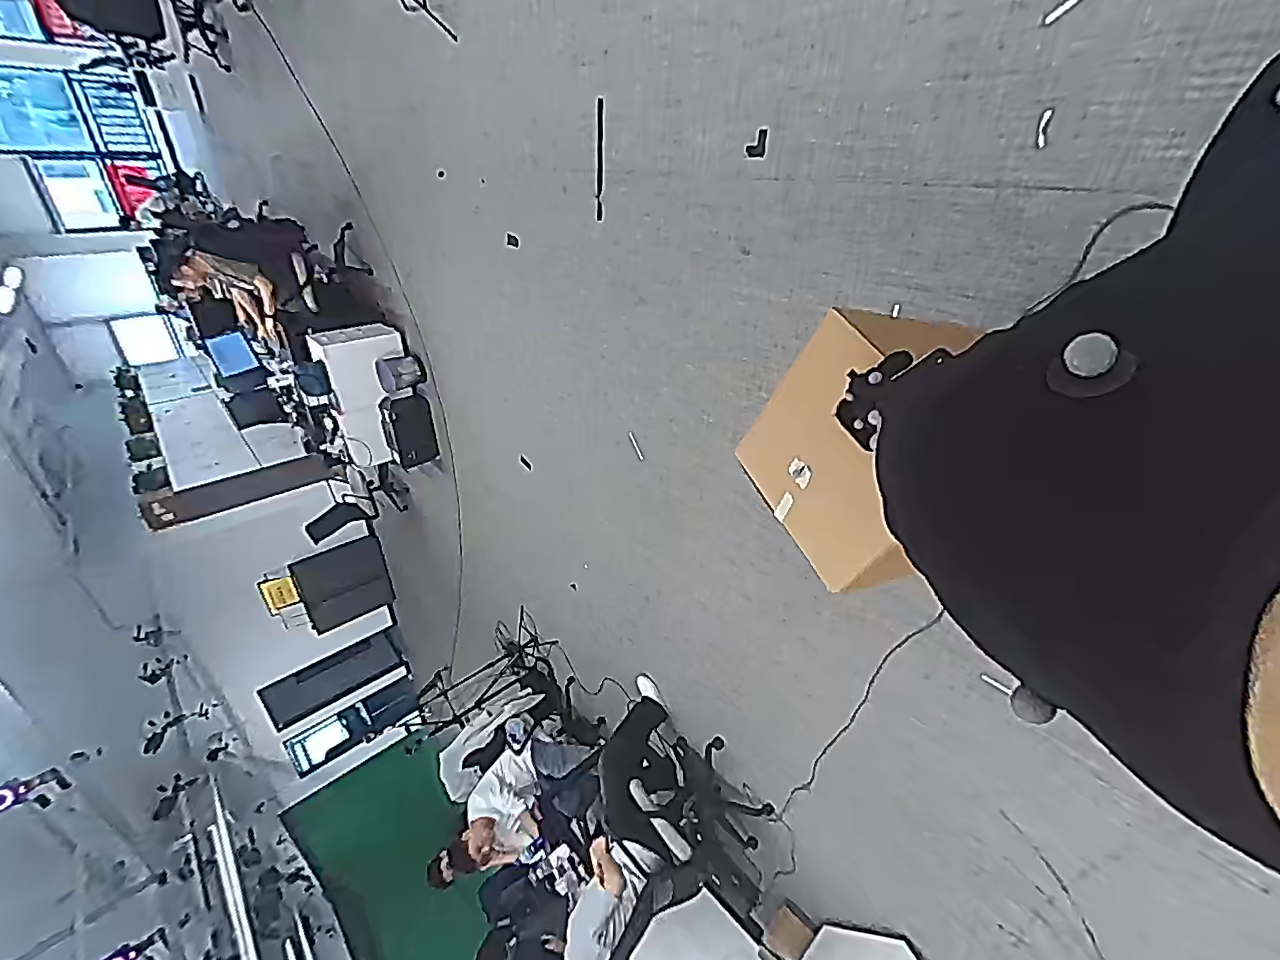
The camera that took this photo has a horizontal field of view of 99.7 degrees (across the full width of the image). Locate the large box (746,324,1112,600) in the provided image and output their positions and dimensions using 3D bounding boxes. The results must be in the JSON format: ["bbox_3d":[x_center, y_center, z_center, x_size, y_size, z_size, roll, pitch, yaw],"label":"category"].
[{"bbox_3d":[0.466,-0.032,0.924,0.320,0.408,0.320,63,141,33],"label":"large box"}]
